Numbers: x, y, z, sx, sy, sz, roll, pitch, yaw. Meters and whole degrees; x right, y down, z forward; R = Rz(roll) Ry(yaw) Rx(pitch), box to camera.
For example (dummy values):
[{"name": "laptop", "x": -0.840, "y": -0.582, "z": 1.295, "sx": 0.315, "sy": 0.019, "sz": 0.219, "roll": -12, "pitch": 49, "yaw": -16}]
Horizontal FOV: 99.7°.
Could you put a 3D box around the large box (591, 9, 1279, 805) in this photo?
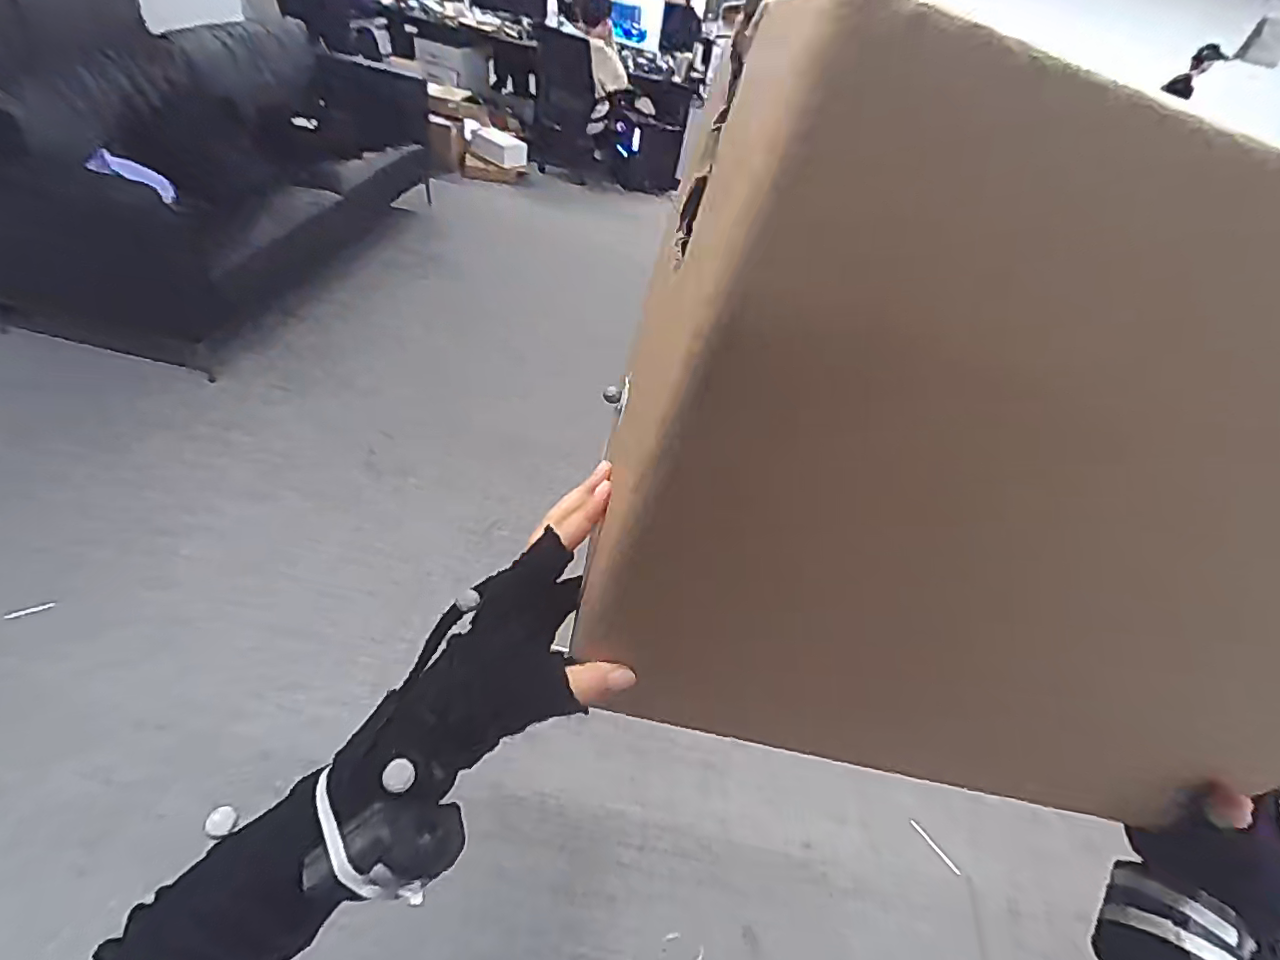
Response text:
[{"name": "large box", "x": 0.207, "y": -0.032, "z": 0.357, "sx": 0.408, "sy": 0.320, "sz": 0.320, "roll": 16, "pitch": 39, "yaw": -9}]
